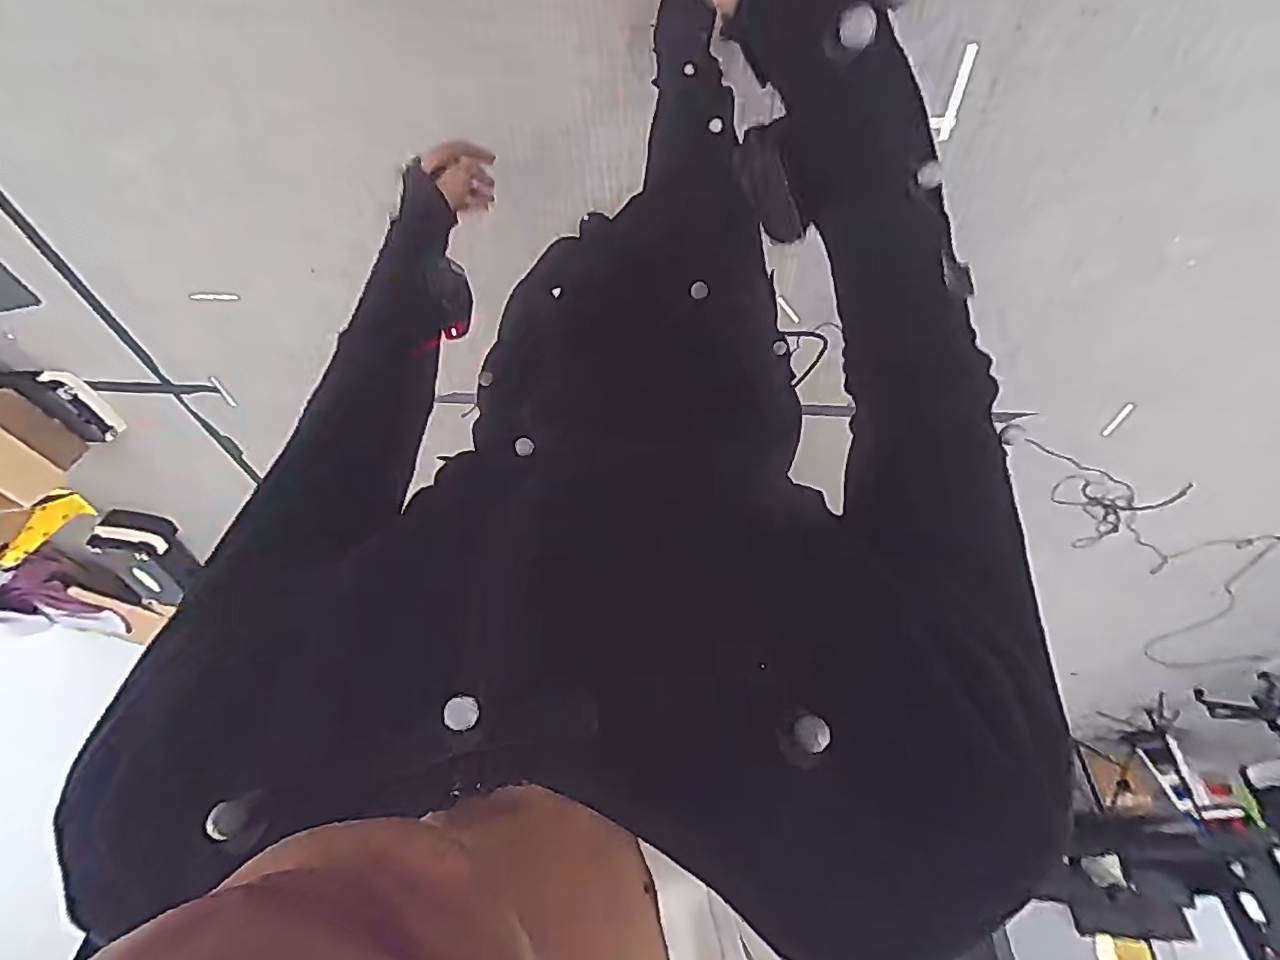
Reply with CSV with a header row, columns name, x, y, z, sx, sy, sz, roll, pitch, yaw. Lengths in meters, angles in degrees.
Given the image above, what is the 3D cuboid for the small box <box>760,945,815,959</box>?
name,x,y,z,sx,sy,sz,roll,pitch,yaw
small box,0.513,1.720,1.863,0.168,0.176,0.179,4,141,2
